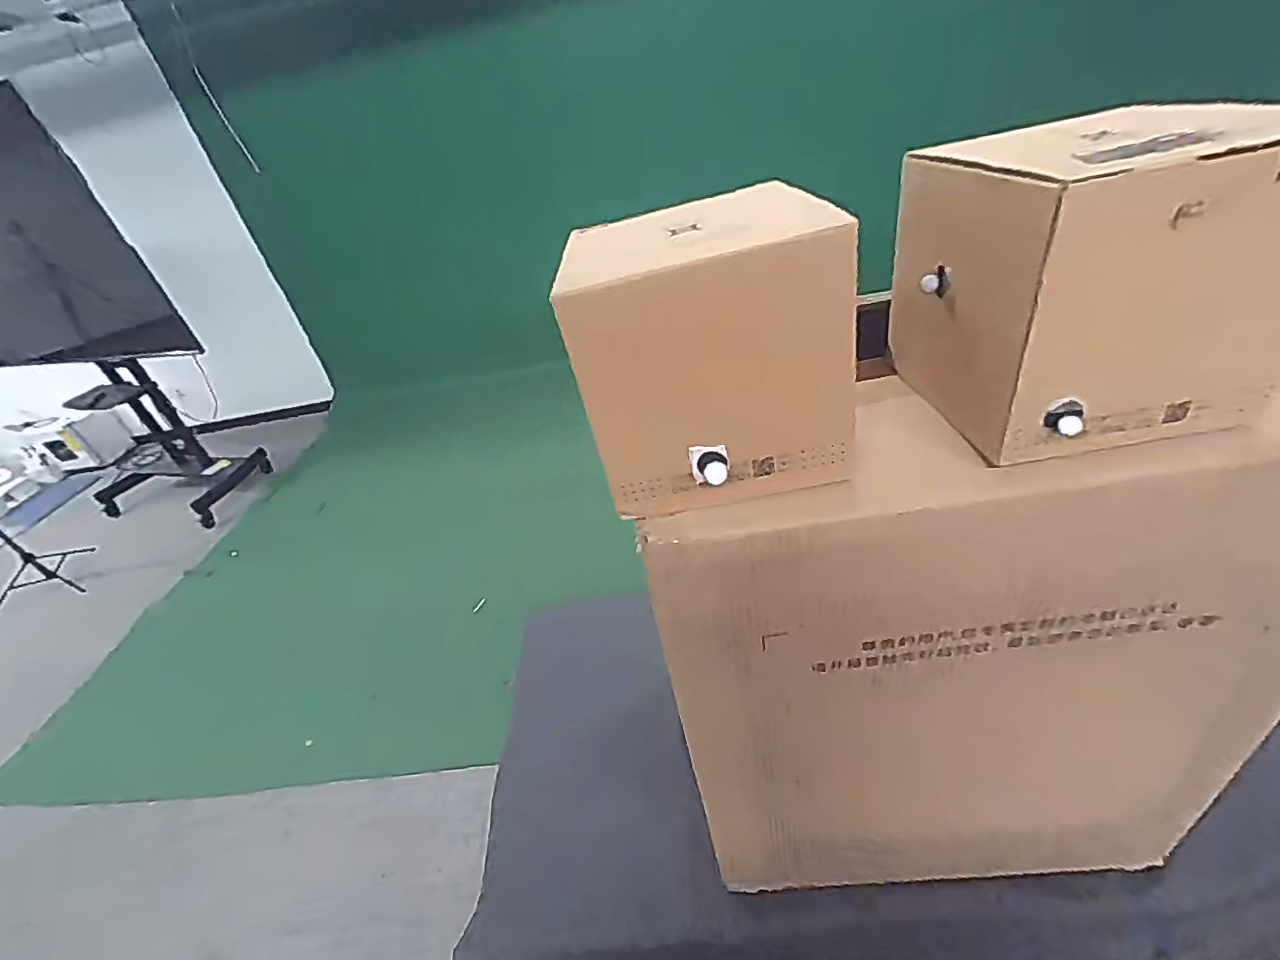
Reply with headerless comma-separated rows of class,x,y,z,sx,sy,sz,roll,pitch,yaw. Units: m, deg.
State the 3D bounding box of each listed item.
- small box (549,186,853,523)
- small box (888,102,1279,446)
small box,0.044,-0.095,0.399,0.168,0.176,0.179,-12,36,6
small box,0.287,-0.134,0.365,0.168,0.176,0.179,-10,34,4
